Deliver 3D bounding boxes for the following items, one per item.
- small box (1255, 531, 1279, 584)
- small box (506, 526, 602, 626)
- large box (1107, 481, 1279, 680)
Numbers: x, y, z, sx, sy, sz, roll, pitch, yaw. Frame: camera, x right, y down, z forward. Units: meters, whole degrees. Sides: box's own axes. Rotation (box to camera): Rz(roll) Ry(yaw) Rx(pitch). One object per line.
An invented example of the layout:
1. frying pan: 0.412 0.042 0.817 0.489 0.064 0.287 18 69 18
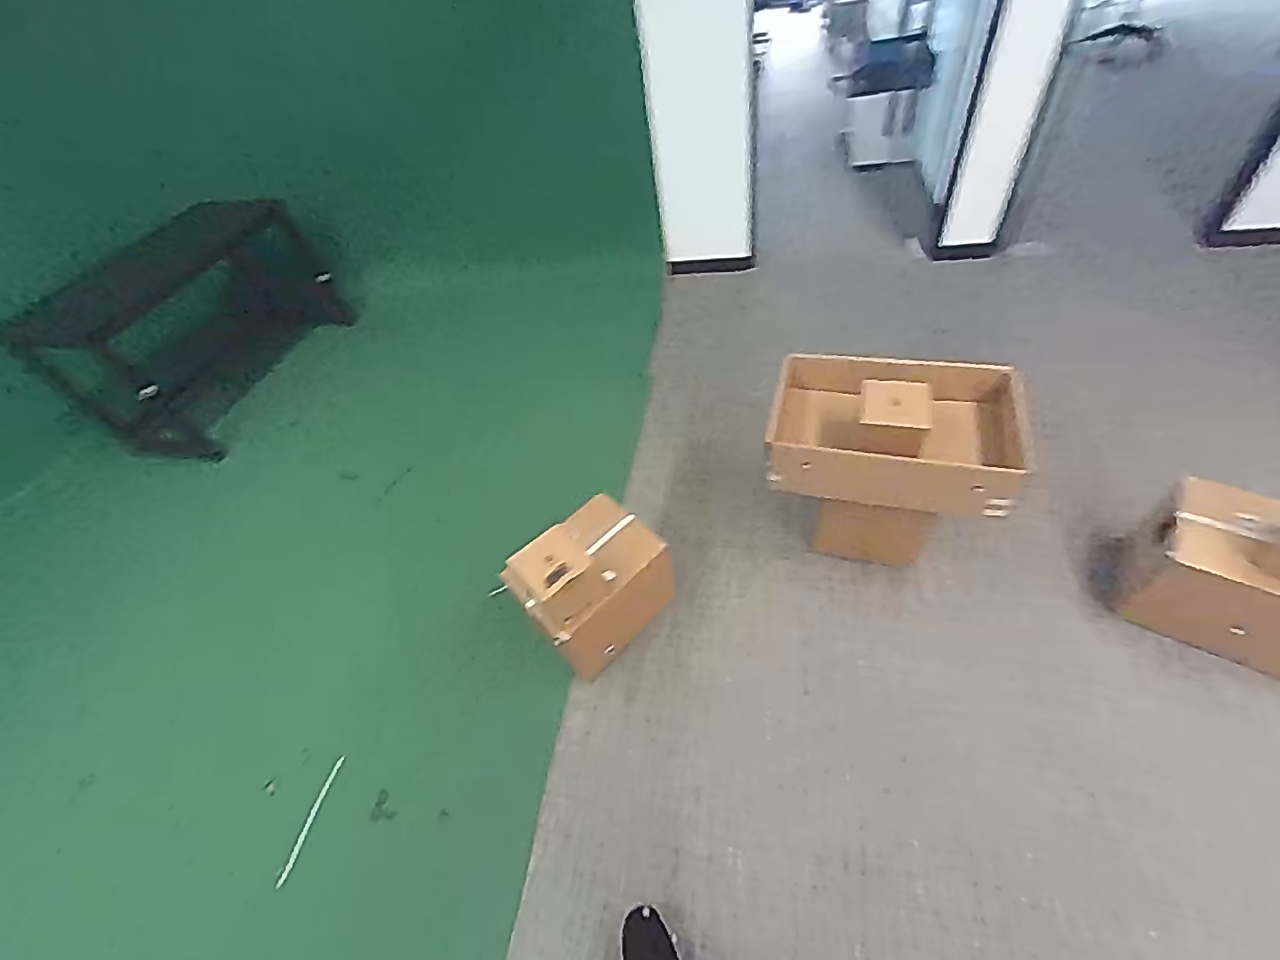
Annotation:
1. small box: 1.549 0.157 1.199 0.179 0.176 0.168 -34 52 -17
2. small box: -0.222 0.263 1.439 0.168 0.176 0.179 -36 52 -21
3. large box: 1.567 0.265 1.429 0.408 0.320 0.320 22 56 28
